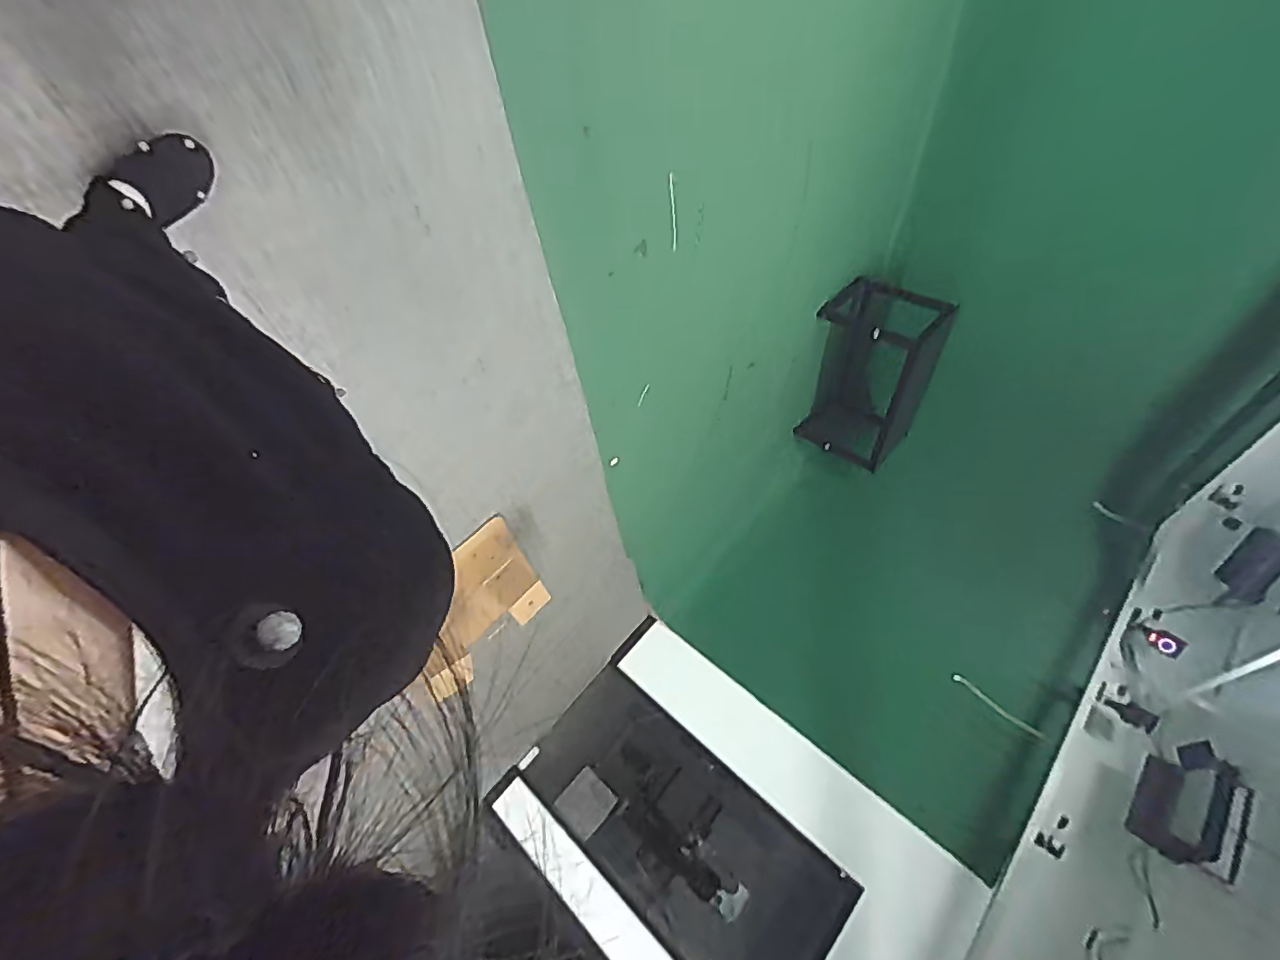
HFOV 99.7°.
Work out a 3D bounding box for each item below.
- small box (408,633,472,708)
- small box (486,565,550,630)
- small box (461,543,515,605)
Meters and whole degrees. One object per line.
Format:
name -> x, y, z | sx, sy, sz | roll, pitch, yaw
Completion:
small box -> -0.765, 0.725, 2.073 | 0.168, 0.176, 0.179 | -28, 140, -40
small box -> -0.505, 0.475, 2.224 | 0.168, 0.176, 0.179 | -43, 149, -22
small box -> -0.628, 0.394, 2.299 | 0.168, 0.176, 0.179 | -44, 149, -22
